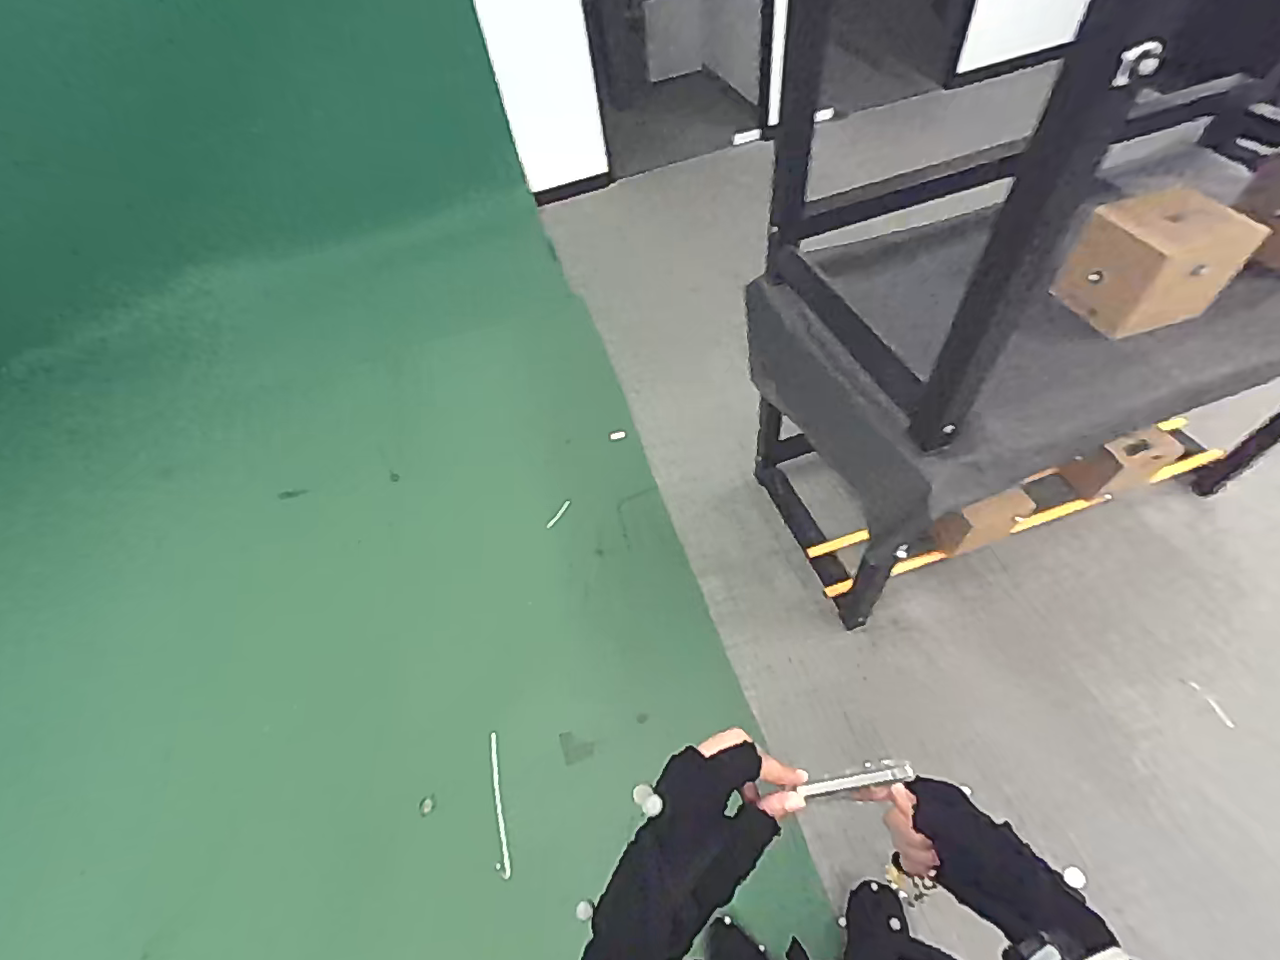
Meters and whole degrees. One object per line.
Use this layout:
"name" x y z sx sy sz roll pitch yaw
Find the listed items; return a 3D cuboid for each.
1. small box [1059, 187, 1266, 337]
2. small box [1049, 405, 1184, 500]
"small box" 0.891 -0.378 0.952 0.179 0.176 0.168 -16 53 -3
"small box" 1.256 -0.065 1.443 0.168 0.176 0.179 -16 53 -3
